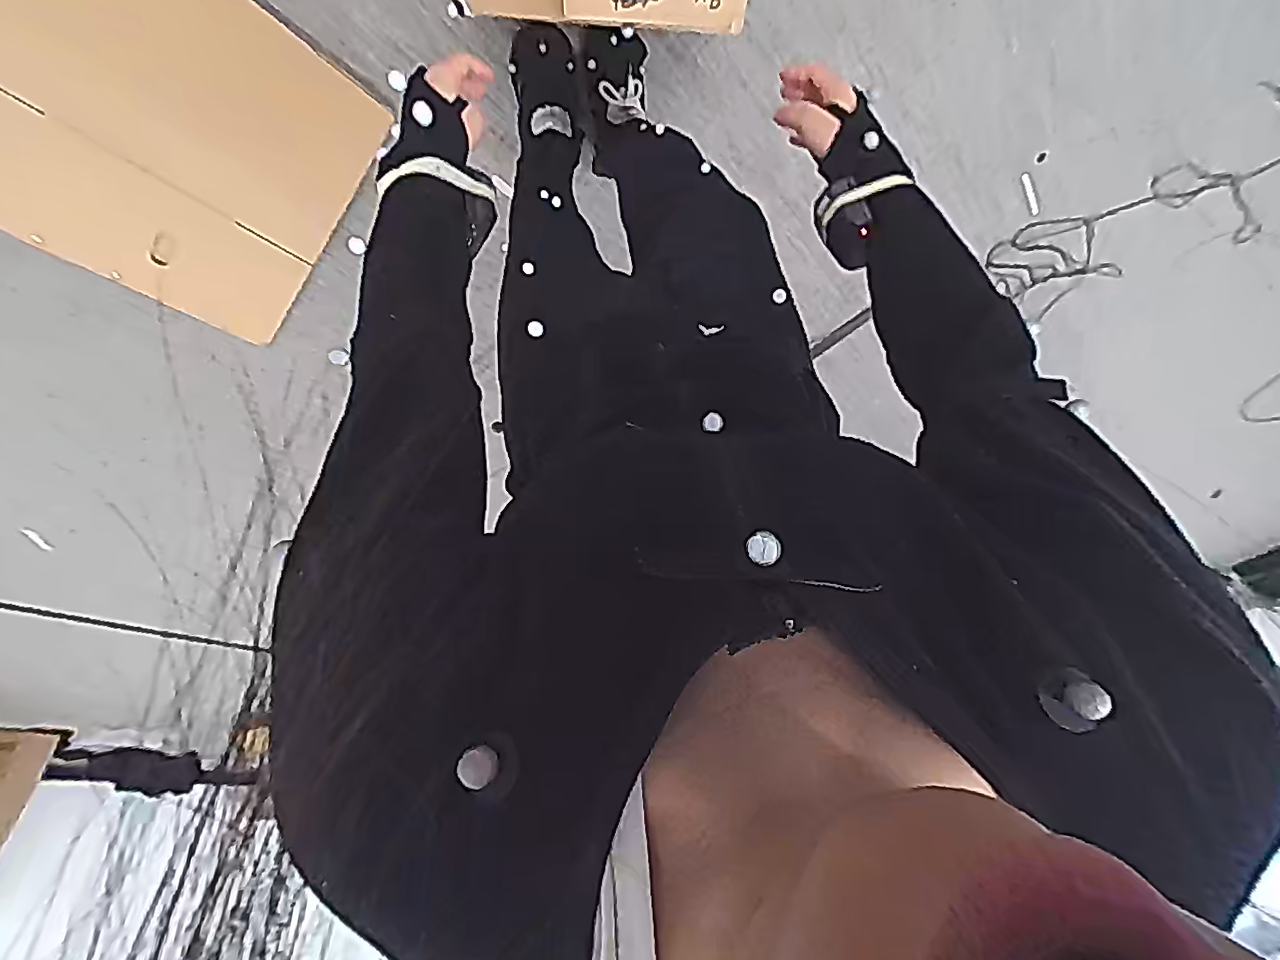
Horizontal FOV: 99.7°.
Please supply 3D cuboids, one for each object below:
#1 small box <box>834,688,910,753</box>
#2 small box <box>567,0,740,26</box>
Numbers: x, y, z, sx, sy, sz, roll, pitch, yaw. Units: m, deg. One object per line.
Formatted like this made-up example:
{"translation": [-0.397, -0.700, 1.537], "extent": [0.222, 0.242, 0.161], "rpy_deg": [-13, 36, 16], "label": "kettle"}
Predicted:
{"translation": [0.843, 0.878, 1.977], "extent": [0.168, 0.176, 0.179], "rpy_deg": [-38, 134, 28], "label": "small box"}
{"translation": [0.006, -0.550, 0.499], "extent": [0.168, 0.176, 0.179], "rpy_deg": [-4, 139, -9], "label": "small box"}
